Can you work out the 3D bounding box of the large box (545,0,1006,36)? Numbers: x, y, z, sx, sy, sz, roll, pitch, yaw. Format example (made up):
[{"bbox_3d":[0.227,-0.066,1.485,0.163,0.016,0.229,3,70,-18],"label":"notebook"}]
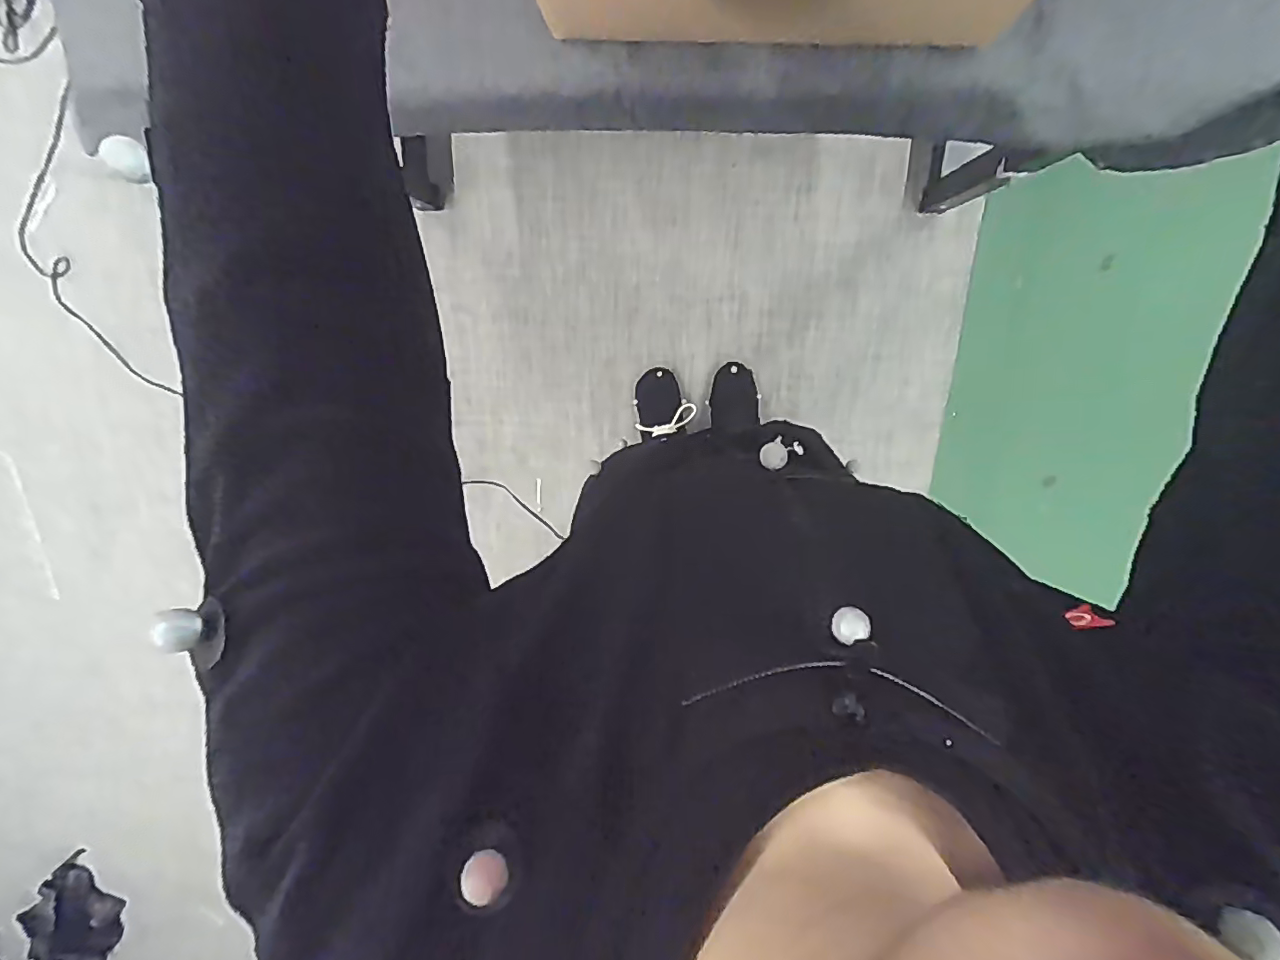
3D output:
[{"bbox_3d":[0.108,-0.527,0.324,0.408,0.320,0.320,3,105,3],"label":"large box"}]
